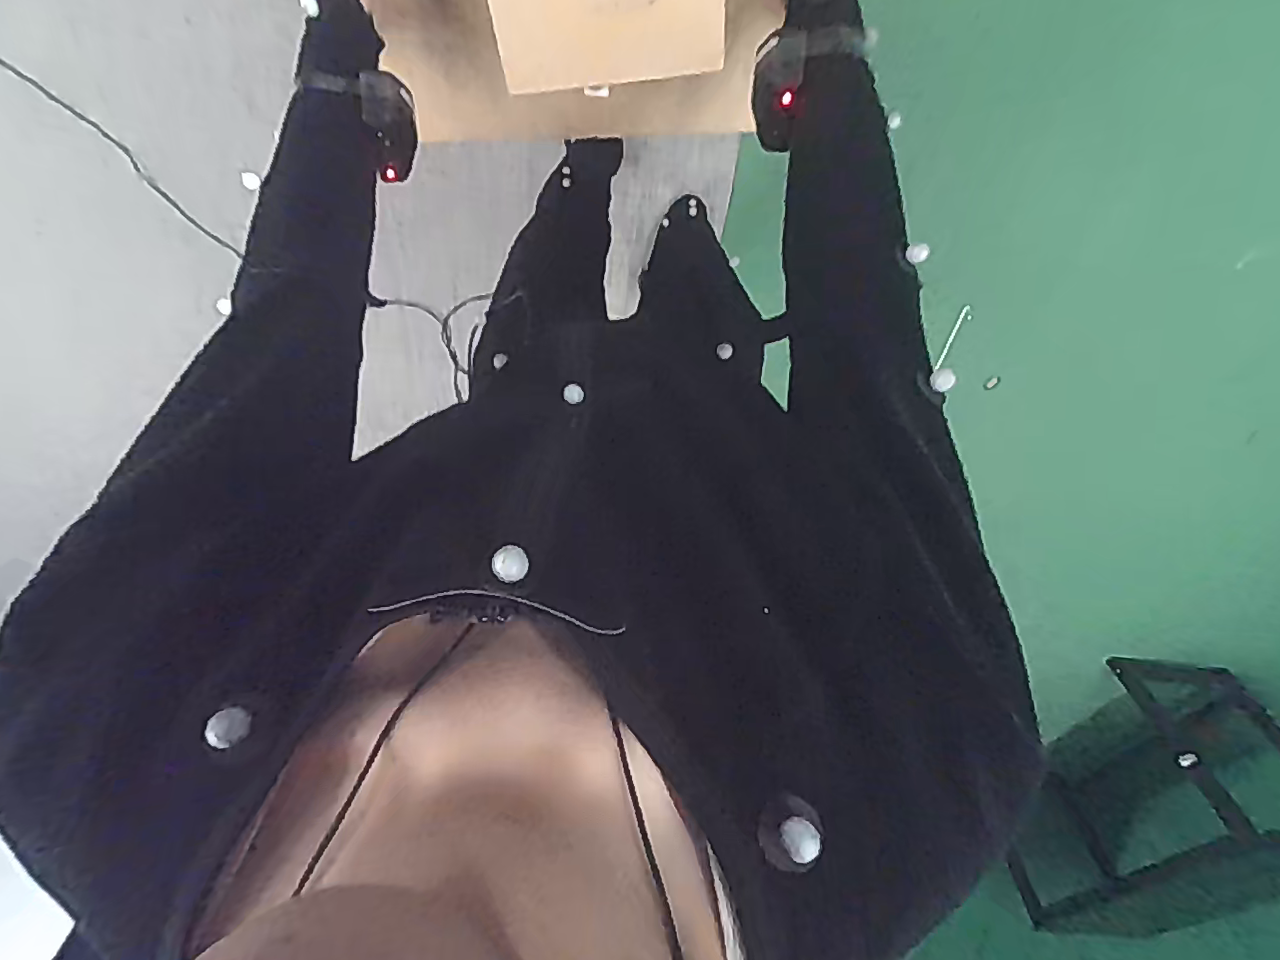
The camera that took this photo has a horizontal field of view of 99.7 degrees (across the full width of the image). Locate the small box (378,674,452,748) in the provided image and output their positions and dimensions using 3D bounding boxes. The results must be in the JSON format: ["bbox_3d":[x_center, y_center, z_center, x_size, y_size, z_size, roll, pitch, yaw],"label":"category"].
[{"bbox_3d":[-0.718,0.753,1.751,0.168,0.176,0.179,4,129,-4],"label":"small box"}]

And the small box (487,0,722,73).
[{"bbox_3d":[-0.029,-0.425,0.396,0.168,0.176,0.179,-3,135,4],"label":"small box"}]
